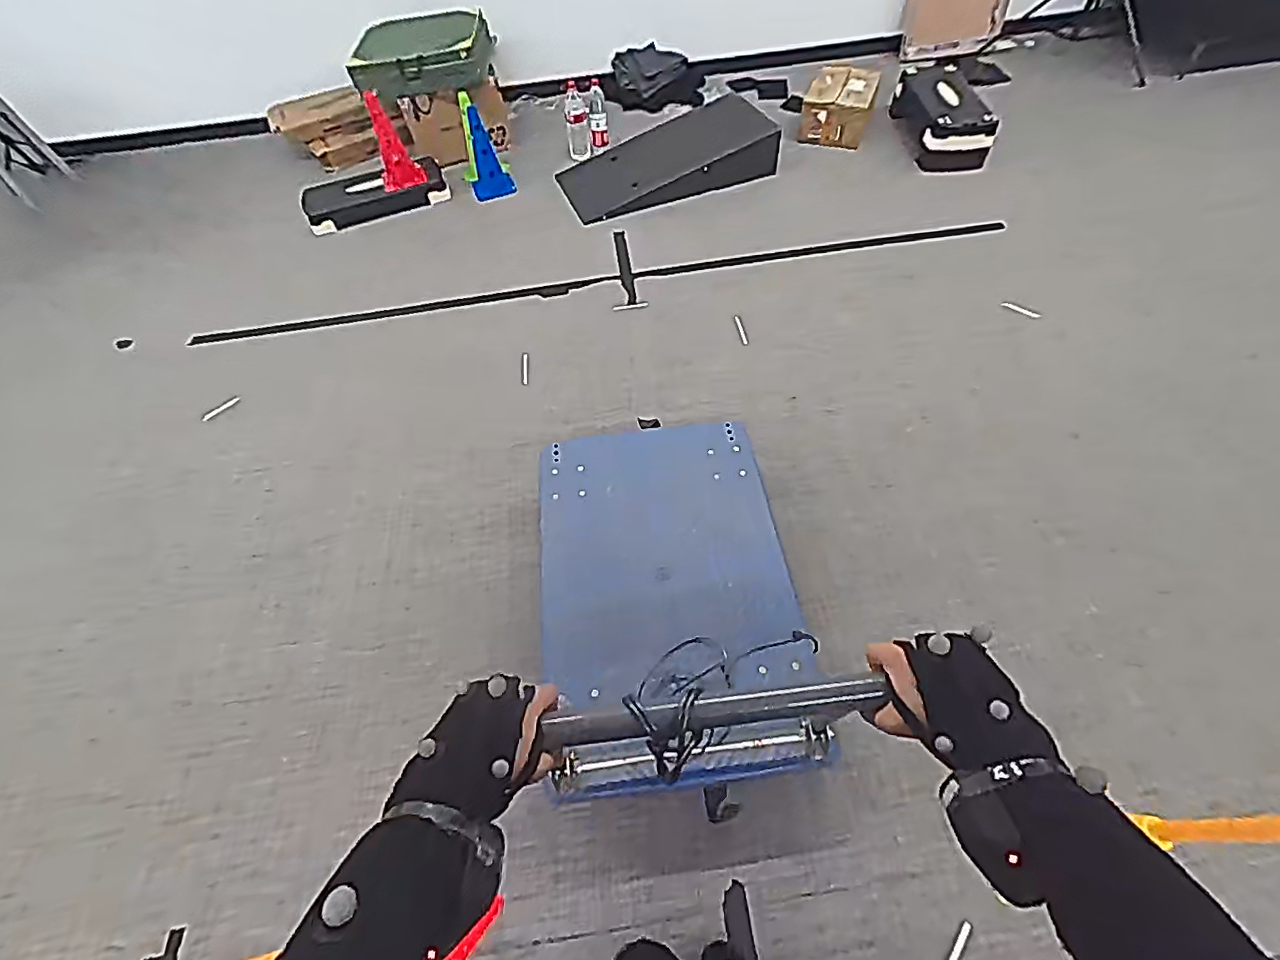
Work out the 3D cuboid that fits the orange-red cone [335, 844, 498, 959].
[{"bbox_3d":[-0.409,0.757,0.911,0.198,0.360,0.199,32,61,22],"label":"orange-red cone"}]
